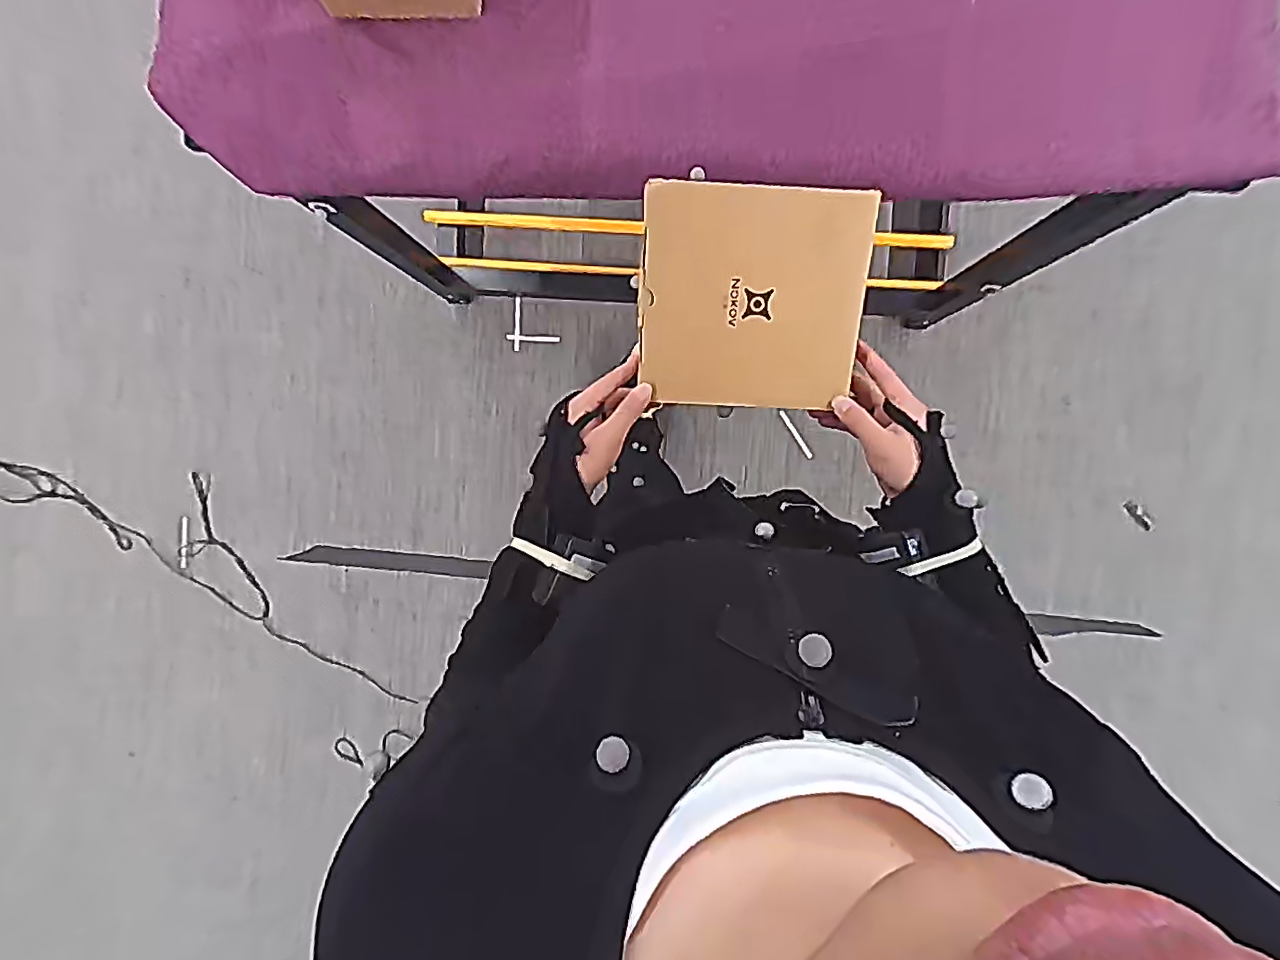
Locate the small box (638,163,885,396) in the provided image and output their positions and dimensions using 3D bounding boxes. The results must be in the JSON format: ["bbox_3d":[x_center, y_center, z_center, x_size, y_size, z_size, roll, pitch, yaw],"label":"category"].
[{"bbox_3d":[0.089,-0.175,0.488,0.179,0.176,0.168,2,110,2],"label":"small box"}]
